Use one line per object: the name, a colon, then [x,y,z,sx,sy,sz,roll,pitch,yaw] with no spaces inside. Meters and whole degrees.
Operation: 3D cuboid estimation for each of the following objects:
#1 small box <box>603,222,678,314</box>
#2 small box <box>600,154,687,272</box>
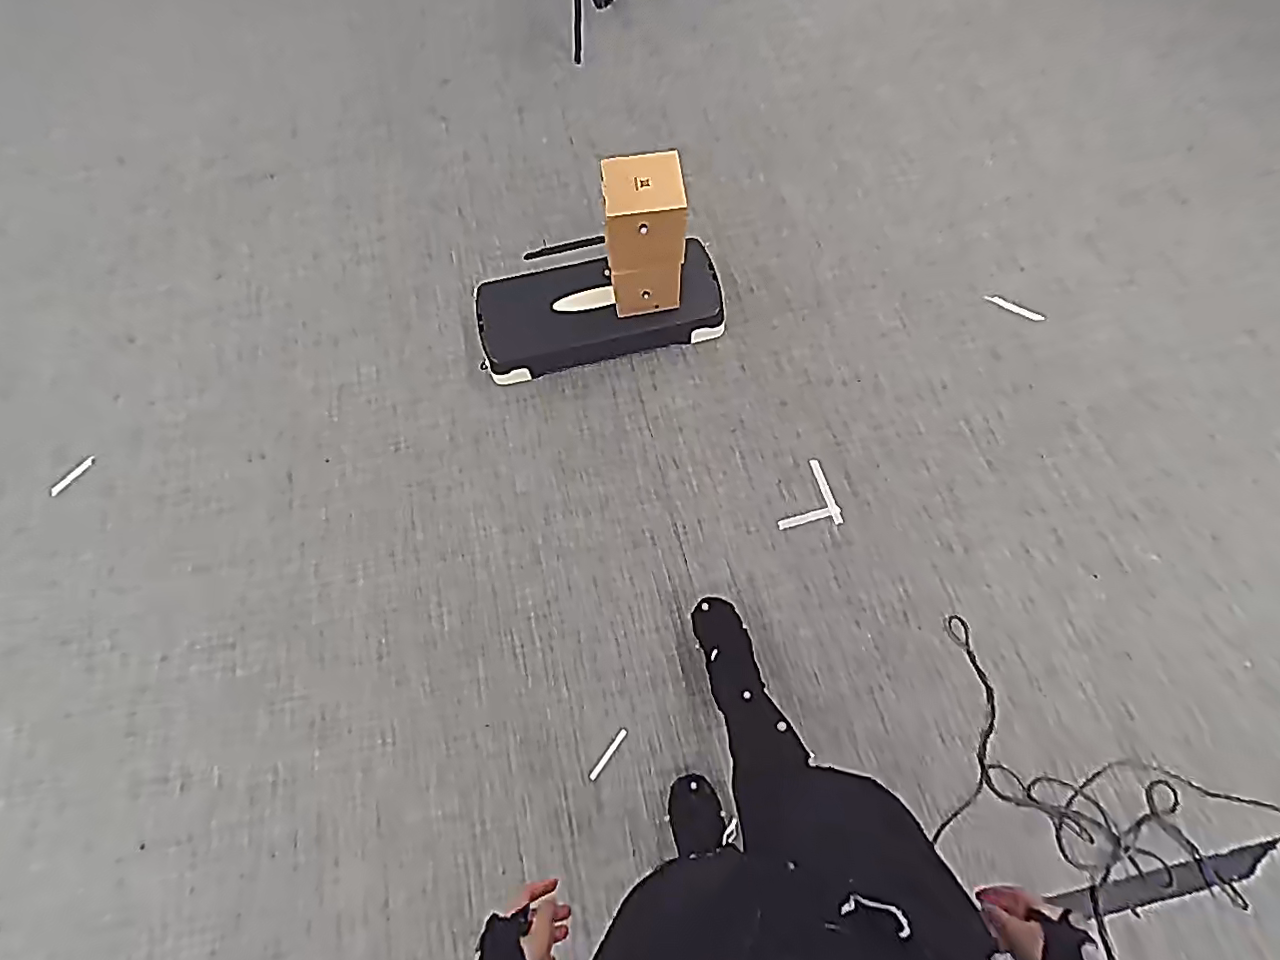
small box: [0.004,-0.545,1.389,0.168,0.176,0.179,-9,70,-1]
small box: [0.008,-0.604,1.237,0.179,0.176,0.168,-7,70,1]
